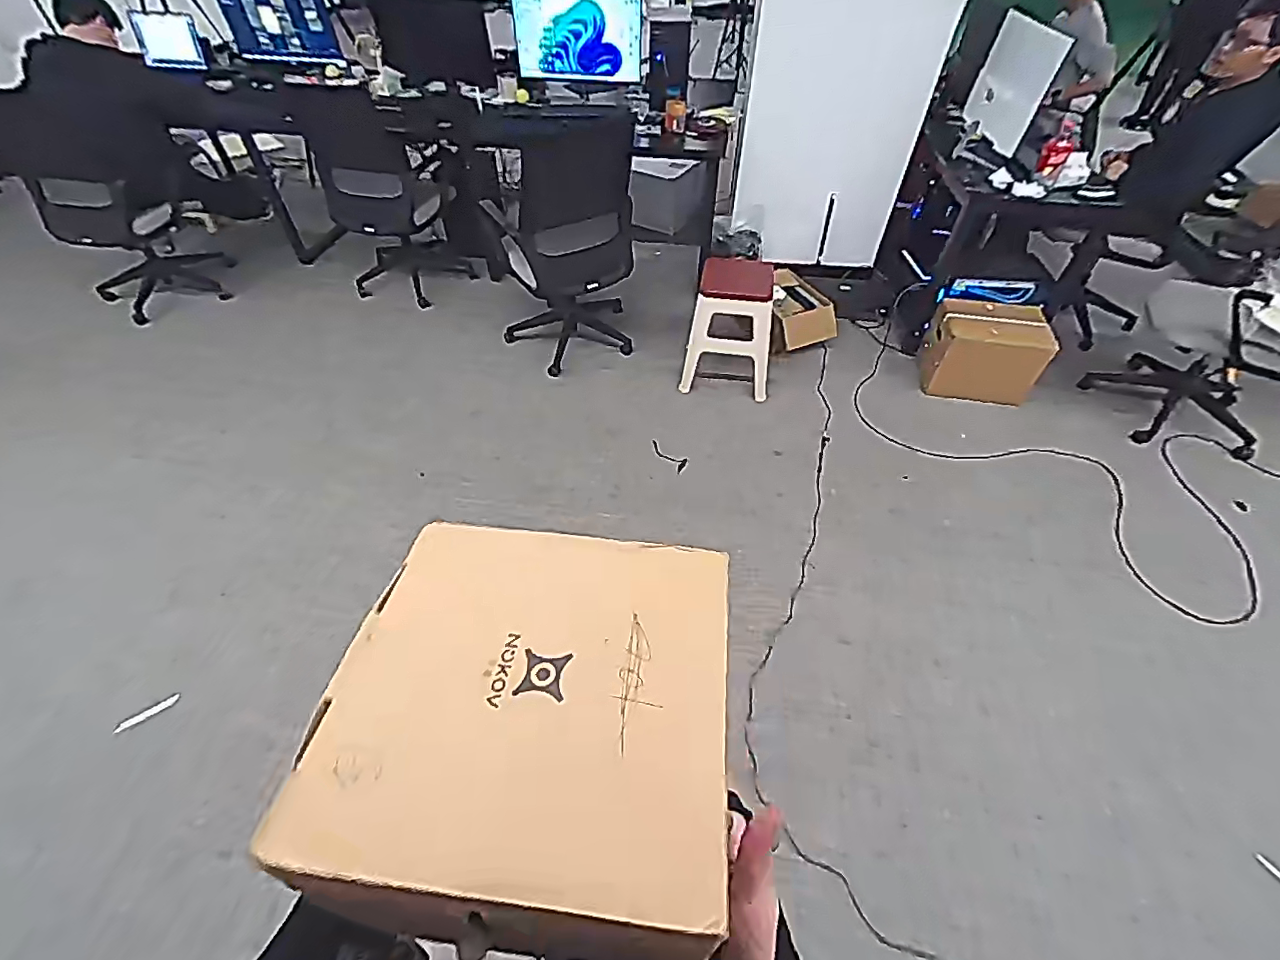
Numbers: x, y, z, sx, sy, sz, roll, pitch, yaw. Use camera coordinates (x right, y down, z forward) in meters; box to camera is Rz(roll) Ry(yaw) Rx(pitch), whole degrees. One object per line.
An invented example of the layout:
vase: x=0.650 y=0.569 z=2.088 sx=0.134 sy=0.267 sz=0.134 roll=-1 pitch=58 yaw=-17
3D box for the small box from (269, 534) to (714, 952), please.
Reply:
small box: x=-0.052 y=0.152 z=0.315 sx=0.179 sy=0.176 sz=0.168 roll=5 pitch=44 yaw=3
